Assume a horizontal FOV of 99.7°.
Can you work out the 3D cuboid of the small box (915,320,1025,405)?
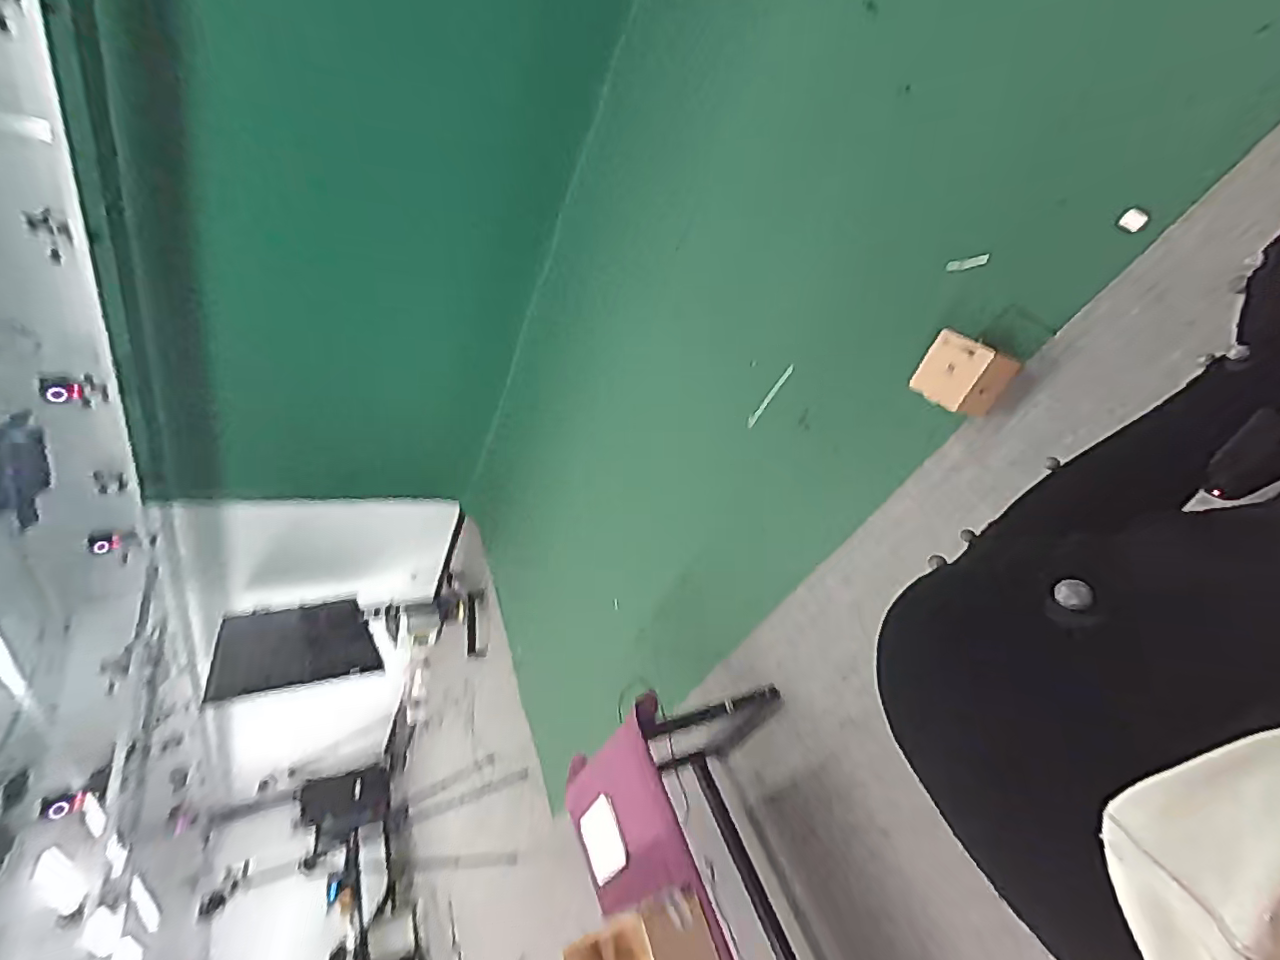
[{"bbox_3d":[0.925,-0.323,1.514,0.168,0.176,0.179,53,132,42],"label":"small box"}]

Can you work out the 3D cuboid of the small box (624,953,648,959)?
[{"bbox_3d":[-0.058,1.532,1.582,0.179,0.176,0.168,-58,44,36],"label":"small box"}]
